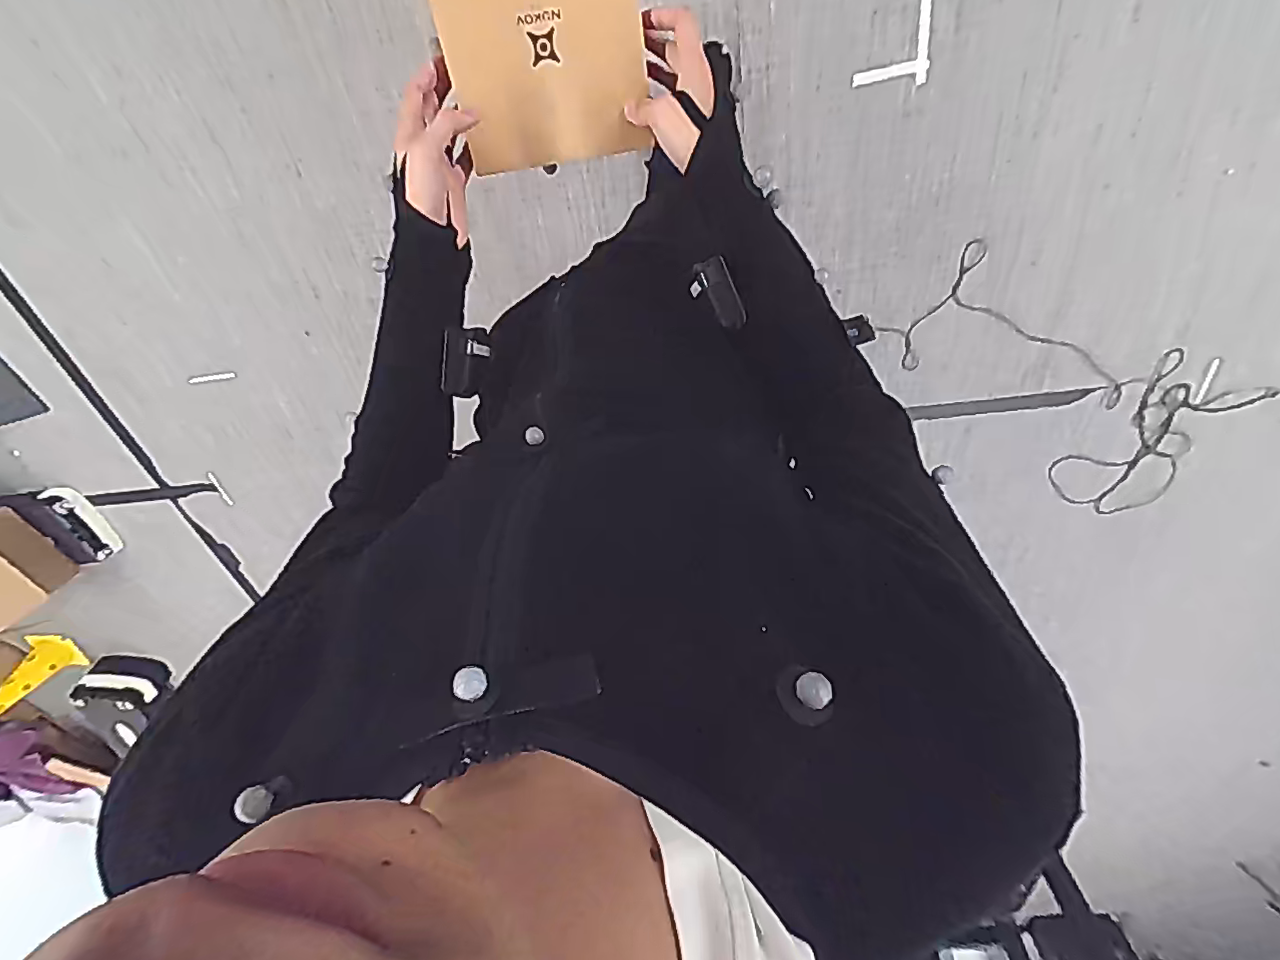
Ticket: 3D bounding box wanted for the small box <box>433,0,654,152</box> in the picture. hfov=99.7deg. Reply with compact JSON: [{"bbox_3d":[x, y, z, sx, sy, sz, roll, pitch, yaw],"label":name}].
[{"bbox_3d":[-0.081,-0.415,0.486,0.168,0.176,0.179,-8,126,1],"label":"small box"}]
